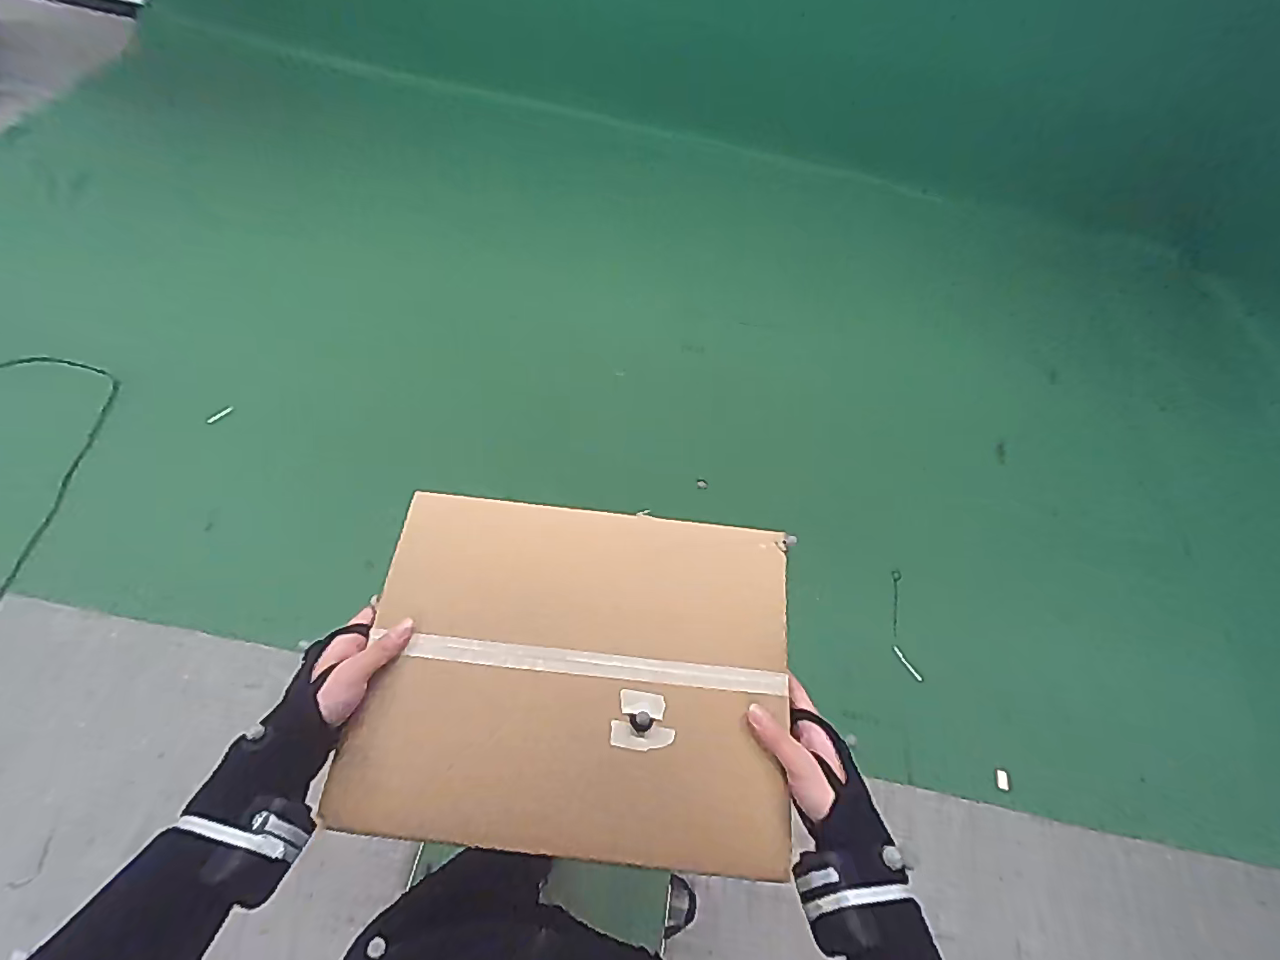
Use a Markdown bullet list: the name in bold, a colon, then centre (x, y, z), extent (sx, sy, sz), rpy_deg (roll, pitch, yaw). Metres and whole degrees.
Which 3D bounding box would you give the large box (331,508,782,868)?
- **large box**: centre (-0.070, 0.249, 0.668), extent (0.408, 0.320, 0.320), rpy_deg (6, 65, 0)
